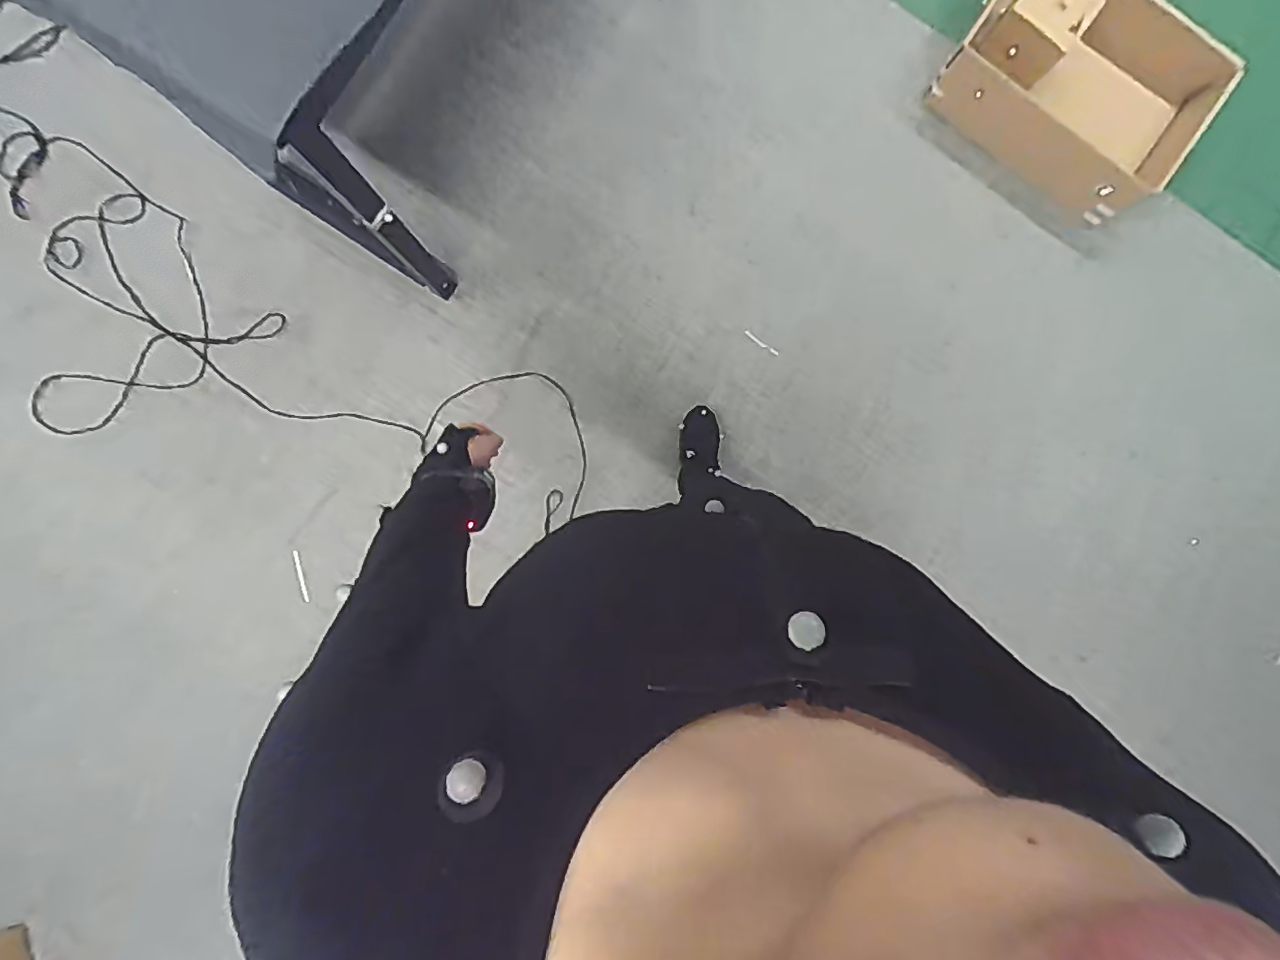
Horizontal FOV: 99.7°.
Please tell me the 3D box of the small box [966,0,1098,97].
[{"bbox_3d":[0.984,-1.135,1.375,0.179,0.176,0.168,36,90,-2],"label":"small box"}]
